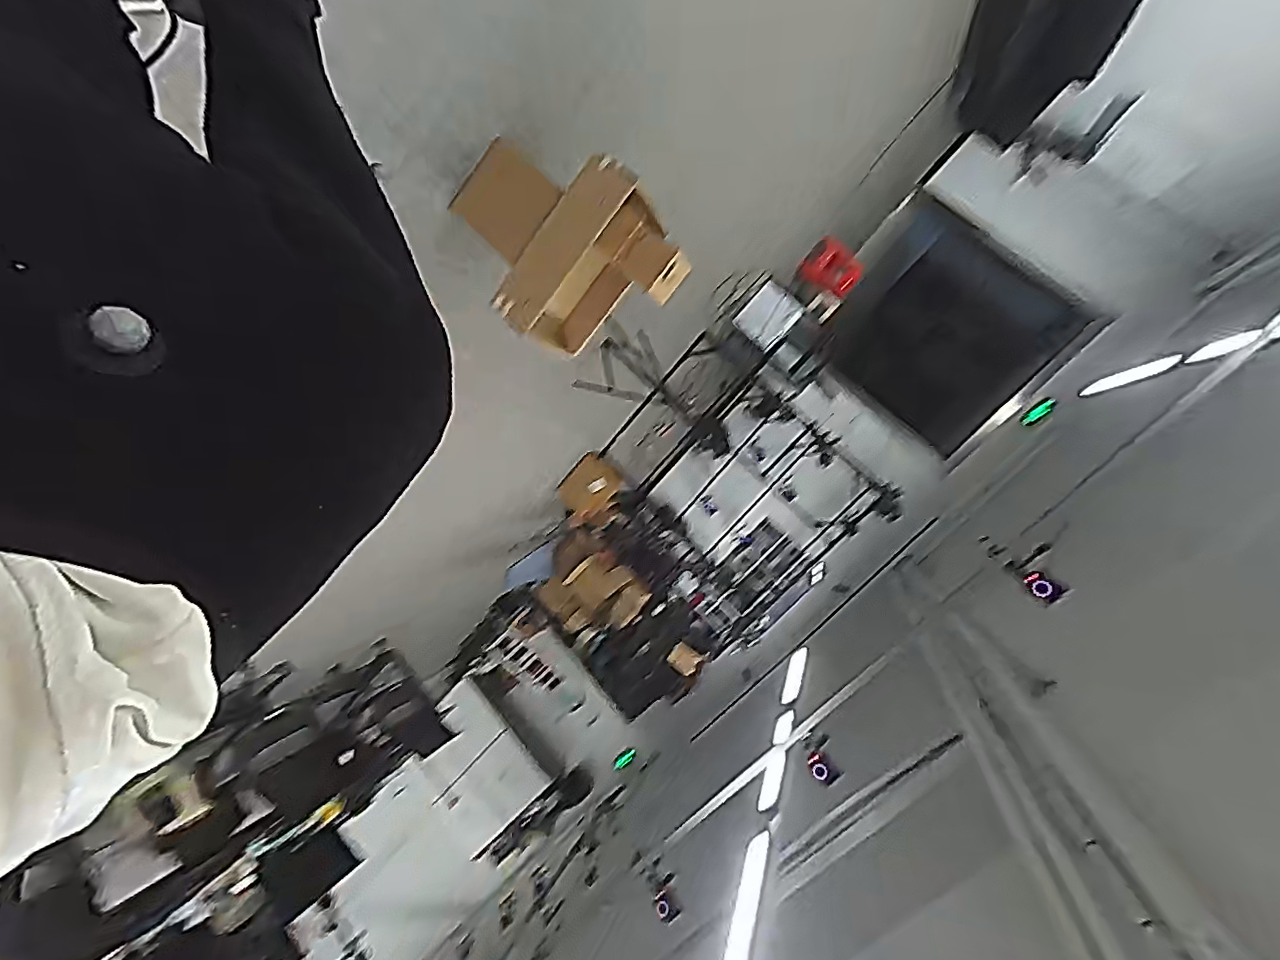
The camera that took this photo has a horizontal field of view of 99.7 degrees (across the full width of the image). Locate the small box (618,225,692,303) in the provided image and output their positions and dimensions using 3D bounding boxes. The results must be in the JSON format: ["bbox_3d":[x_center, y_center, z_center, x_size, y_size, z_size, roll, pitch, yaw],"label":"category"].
[{"bbox_3d":[0.050,-0.752,1.879,0.168,0.176,0.179,-50,166,14],"label":"small box"}]

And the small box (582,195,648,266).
[{"bbox_3d":[-0.069,-0.864,1.904,0.168,0.176,0.179,-51,165,15],"label":"small box"}]
